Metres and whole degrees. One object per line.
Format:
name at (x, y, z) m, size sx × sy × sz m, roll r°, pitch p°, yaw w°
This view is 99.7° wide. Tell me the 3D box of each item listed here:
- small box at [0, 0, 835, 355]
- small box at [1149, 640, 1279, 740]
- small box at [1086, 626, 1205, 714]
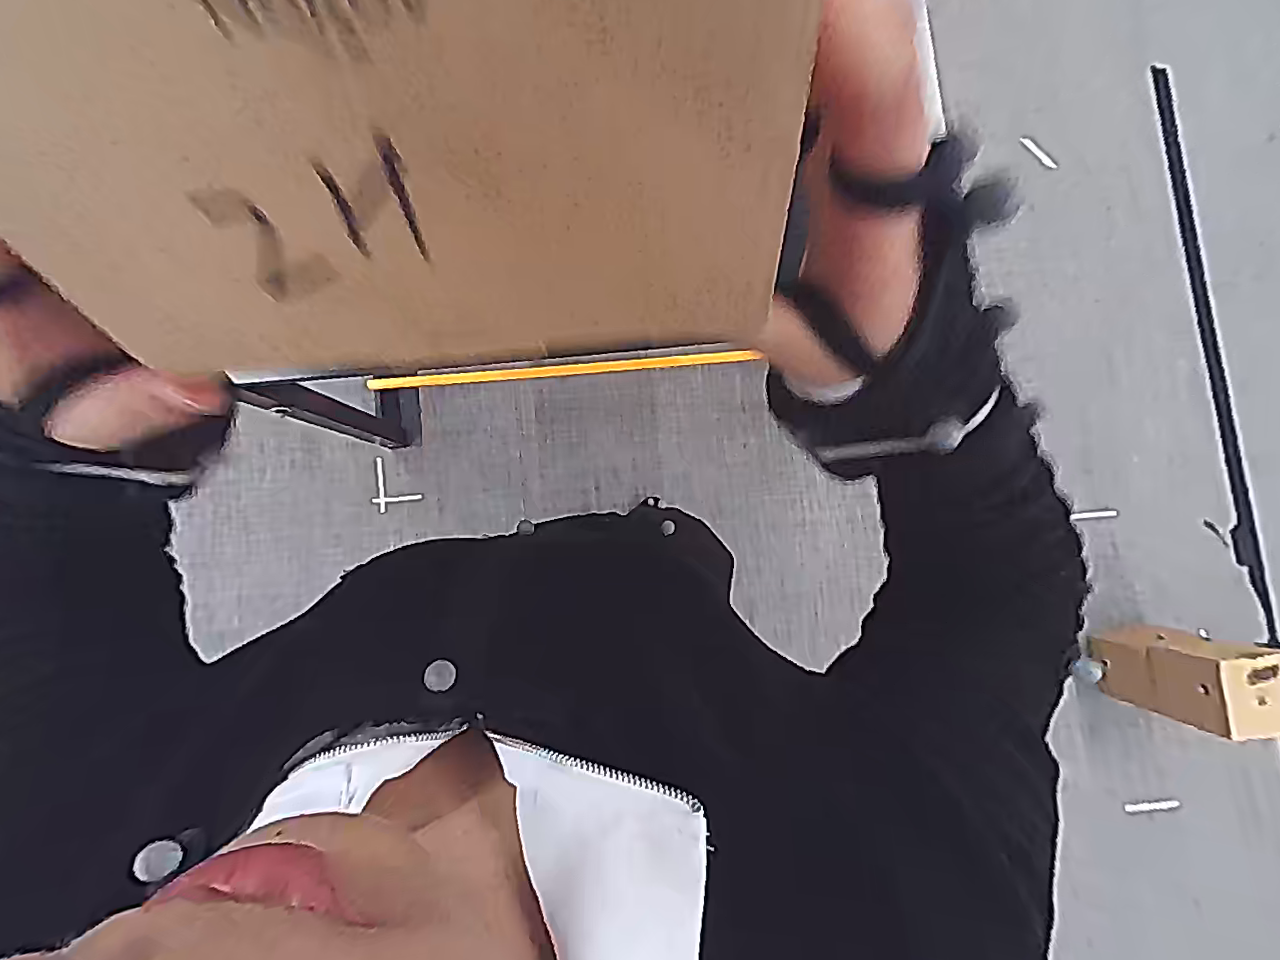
small box at (-0.057, -0.151, 0.107) m, size 0.168 × 0.179 × 0.176 m, roll -4°, pitch 56°, yaw 0°
small box at (1.346, 0.478, 1.260) m, size 0.168 × 0.176 × 0.179 m, roll -6°, pitch 86°, yaw -1°
small box at (1.342, 0.492, 1.425) m, size 0.179 × 0.176 × 0.168 m, roll -10°, pitch 85°, yaw -1°
